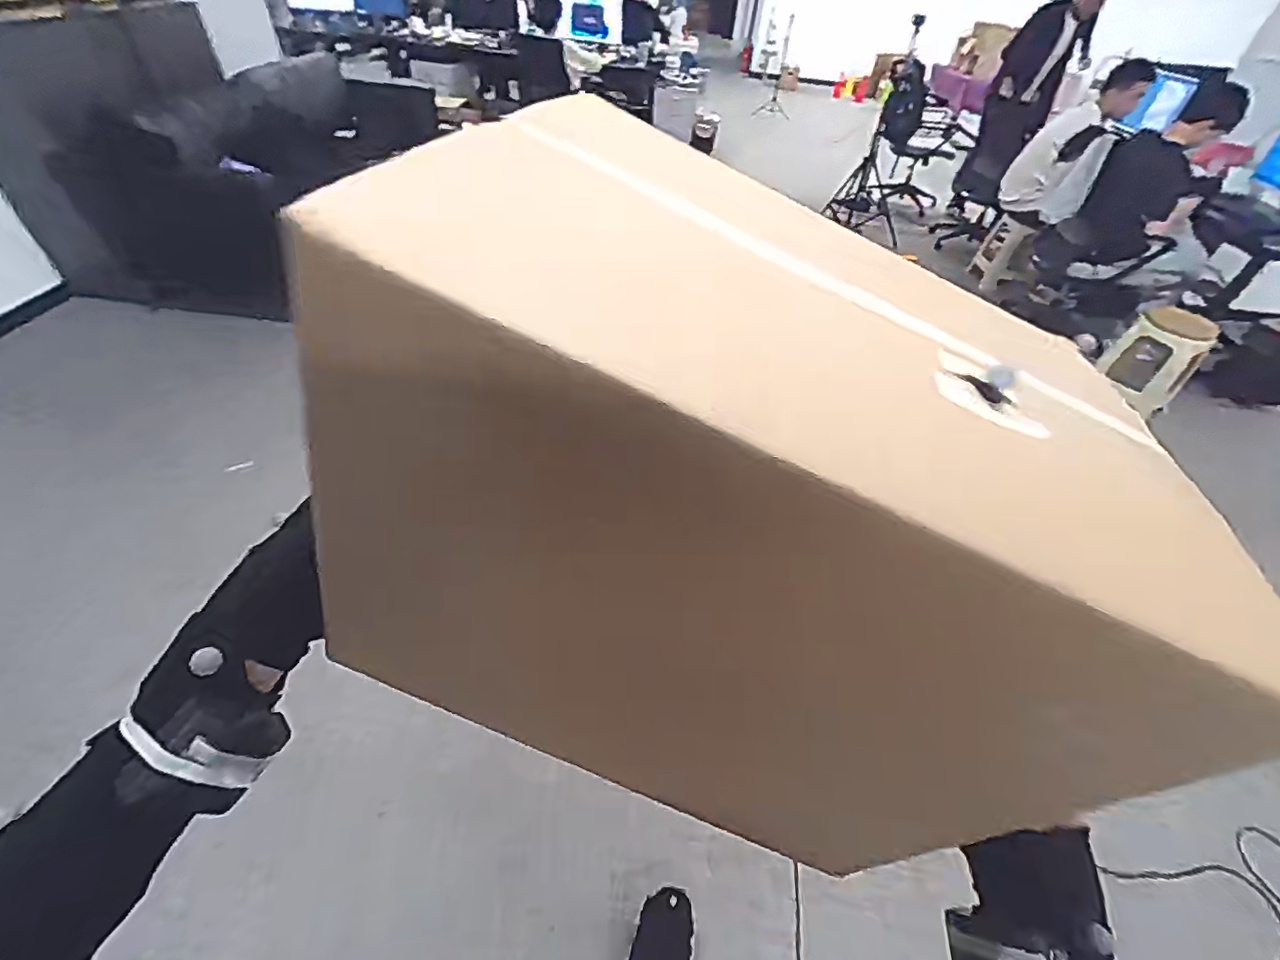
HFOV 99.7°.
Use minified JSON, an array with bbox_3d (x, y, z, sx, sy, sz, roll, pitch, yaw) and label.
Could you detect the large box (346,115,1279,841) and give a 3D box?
[{"bbox_3d":[0.058,0.003,0.405,0.408,0.320,0.320,26,43,-4],"label":"large box"}]
